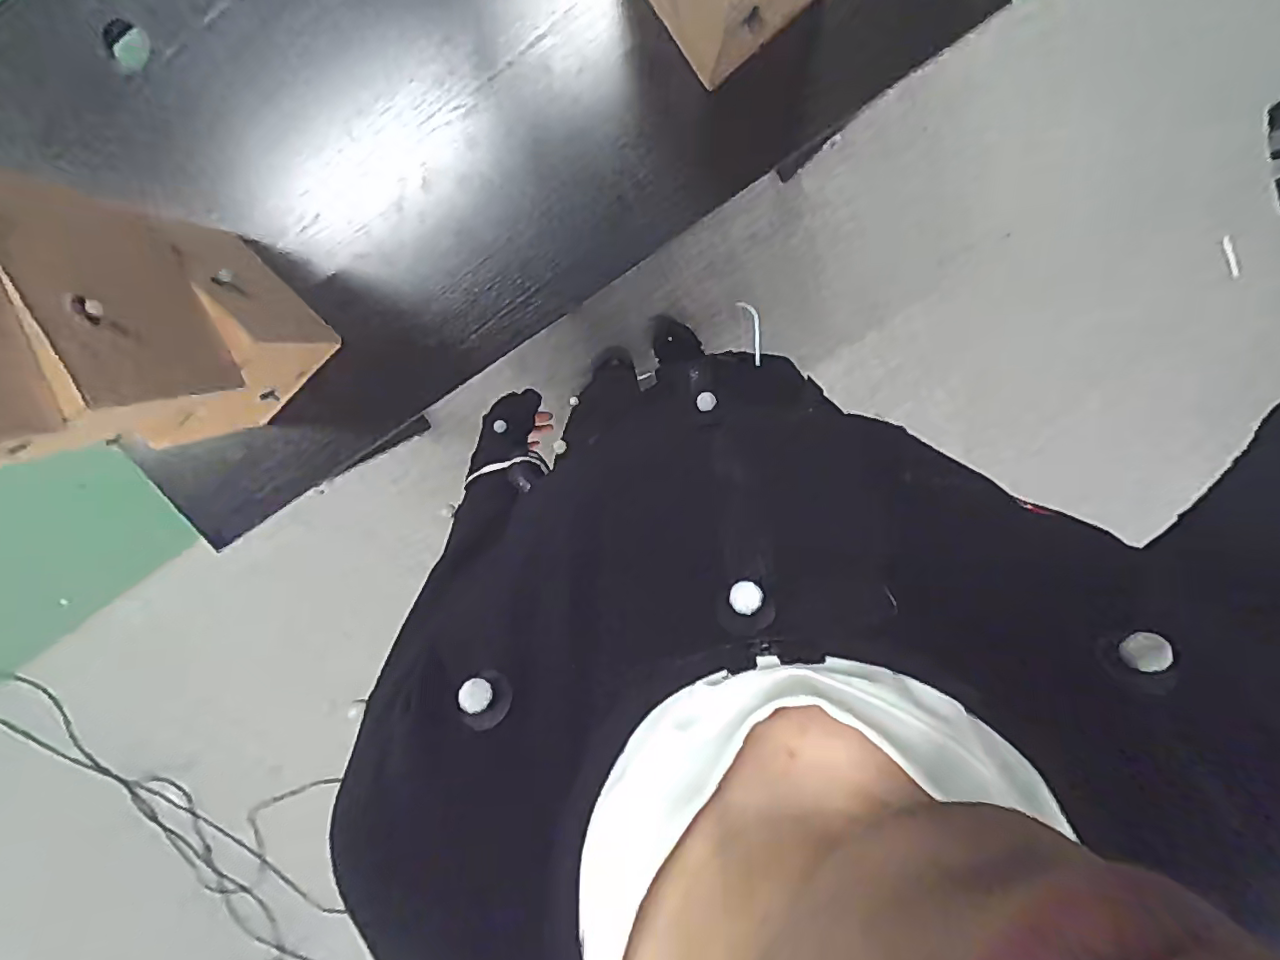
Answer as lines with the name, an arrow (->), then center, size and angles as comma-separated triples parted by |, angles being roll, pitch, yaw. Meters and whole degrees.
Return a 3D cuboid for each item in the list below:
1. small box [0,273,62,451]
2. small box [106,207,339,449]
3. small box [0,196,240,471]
small box -> -0.498, -0.078, 0.293 | 0.168, 0.176, 0.179 | -10, 107, 1
small box -> -0.495, -0.163, 0.610 | 0.168, 0.176, 0.179 | -41, 103, 9
small box -> -0.495, -0.118, 0.453 | 0.168, 0.176, 0.179 | -20, 105, 4
